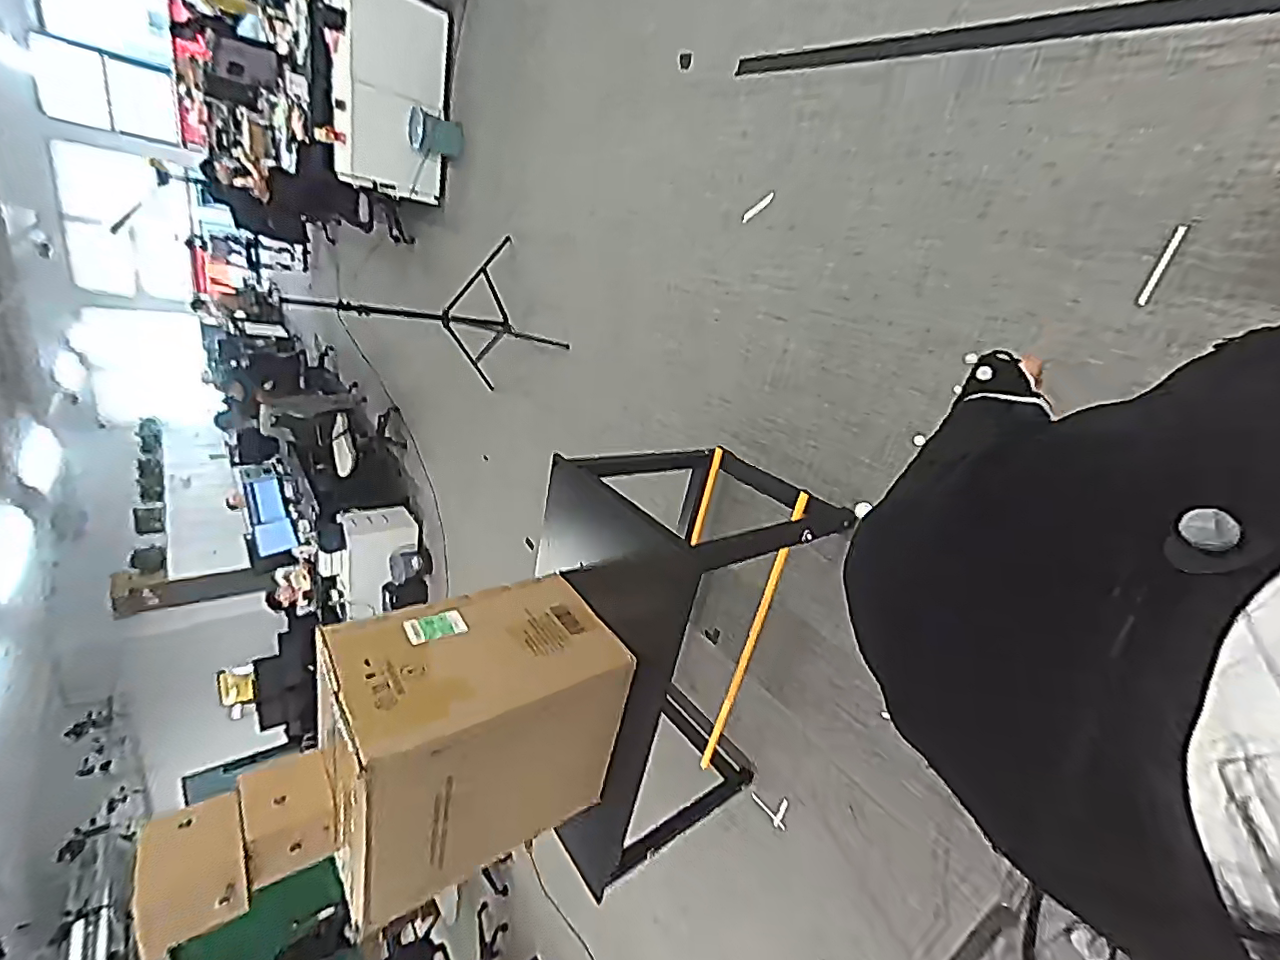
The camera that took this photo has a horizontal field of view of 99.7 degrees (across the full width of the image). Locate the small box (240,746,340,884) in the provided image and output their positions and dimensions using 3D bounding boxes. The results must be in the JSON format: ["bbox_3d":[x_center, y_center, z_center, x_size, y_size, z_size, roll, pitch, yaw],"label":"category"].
[{"bbox_3d":[-0.795,0.751,1.233,0.179,0.176,0.168,35,120,43],"label":"small box"}]

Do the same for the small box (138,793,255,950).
[{"bbox_3d":[-0.902,0.783,1.108,0.179,0.176,0.168,32,120,44],"label":"small box"}]
